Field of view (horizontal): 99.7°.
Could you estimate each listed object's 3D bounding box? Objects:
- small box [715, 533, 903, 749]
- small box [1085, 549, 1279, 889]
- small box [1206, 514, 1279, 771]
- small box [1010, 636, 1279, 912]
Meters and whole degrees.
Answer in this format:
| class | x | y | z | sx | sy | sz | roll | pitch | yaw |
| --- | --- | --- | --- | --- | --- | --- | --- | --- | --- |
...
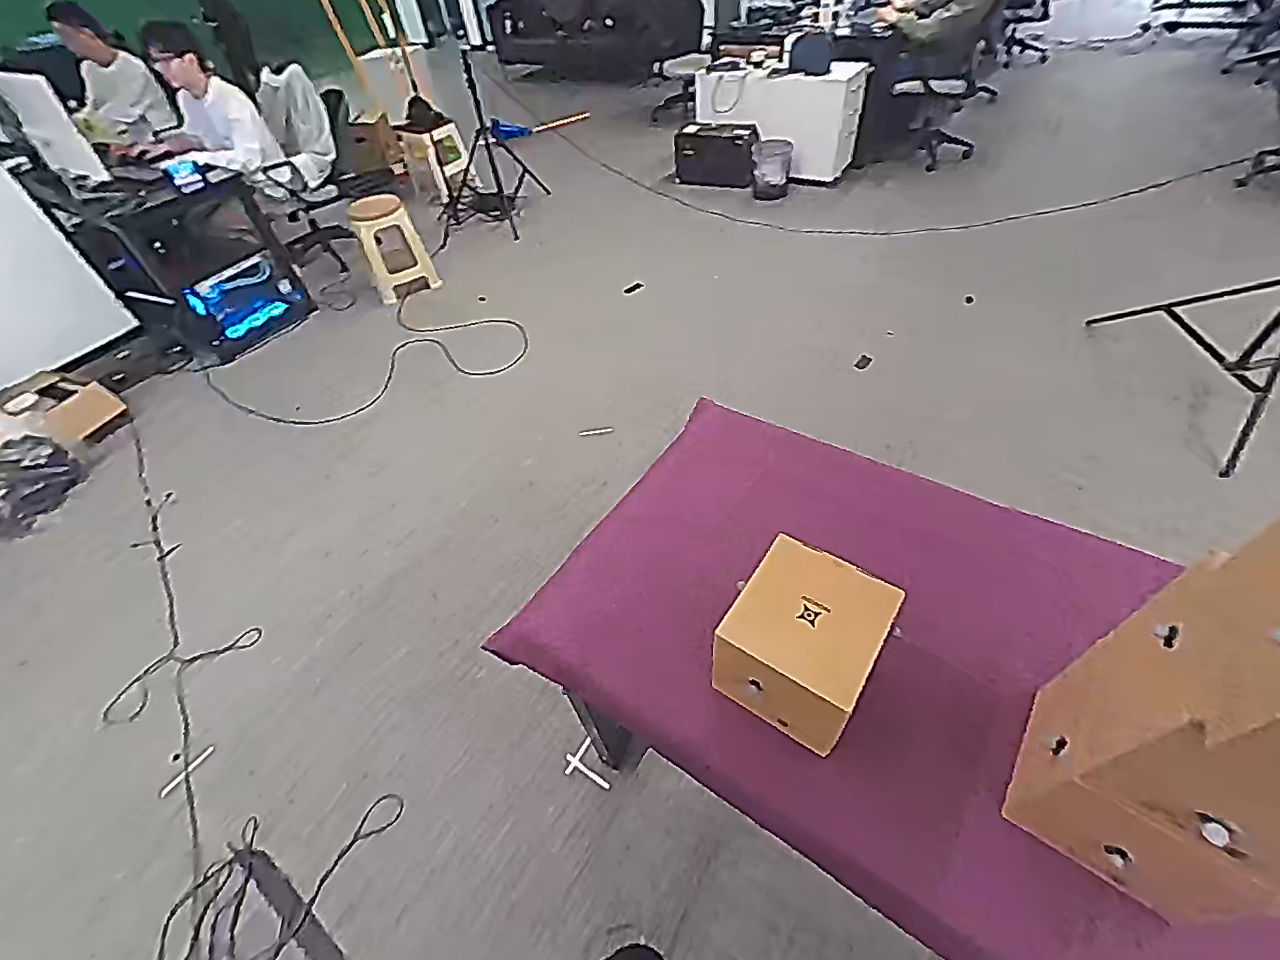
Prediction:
| class | x | y | z | sx | sy | sz | roll | pitch | yaw |
| --- | --- | --- | --- | --- | --- | --- | --- | --- | --- |
| small box | 0.210 | 0.209 | 0.699 | 0.168 | 0.176 | 0.179 | 25 | 54 | 26 |
| small box | 0.516 | 0.198 | 0.449 | 0.168 | 0.176 | 0.179 | 27 | 57 | 27 |
| small box | 0.491 | 0.105 | 0.317 | 0.168 | 0.176 | 0.179 | 24 | 55 | 25 |
| small box | 0.526 | 0.309 | 0.569 | 0.168 | 0.176 | 0.179 | 27 | 56 | 27 |
